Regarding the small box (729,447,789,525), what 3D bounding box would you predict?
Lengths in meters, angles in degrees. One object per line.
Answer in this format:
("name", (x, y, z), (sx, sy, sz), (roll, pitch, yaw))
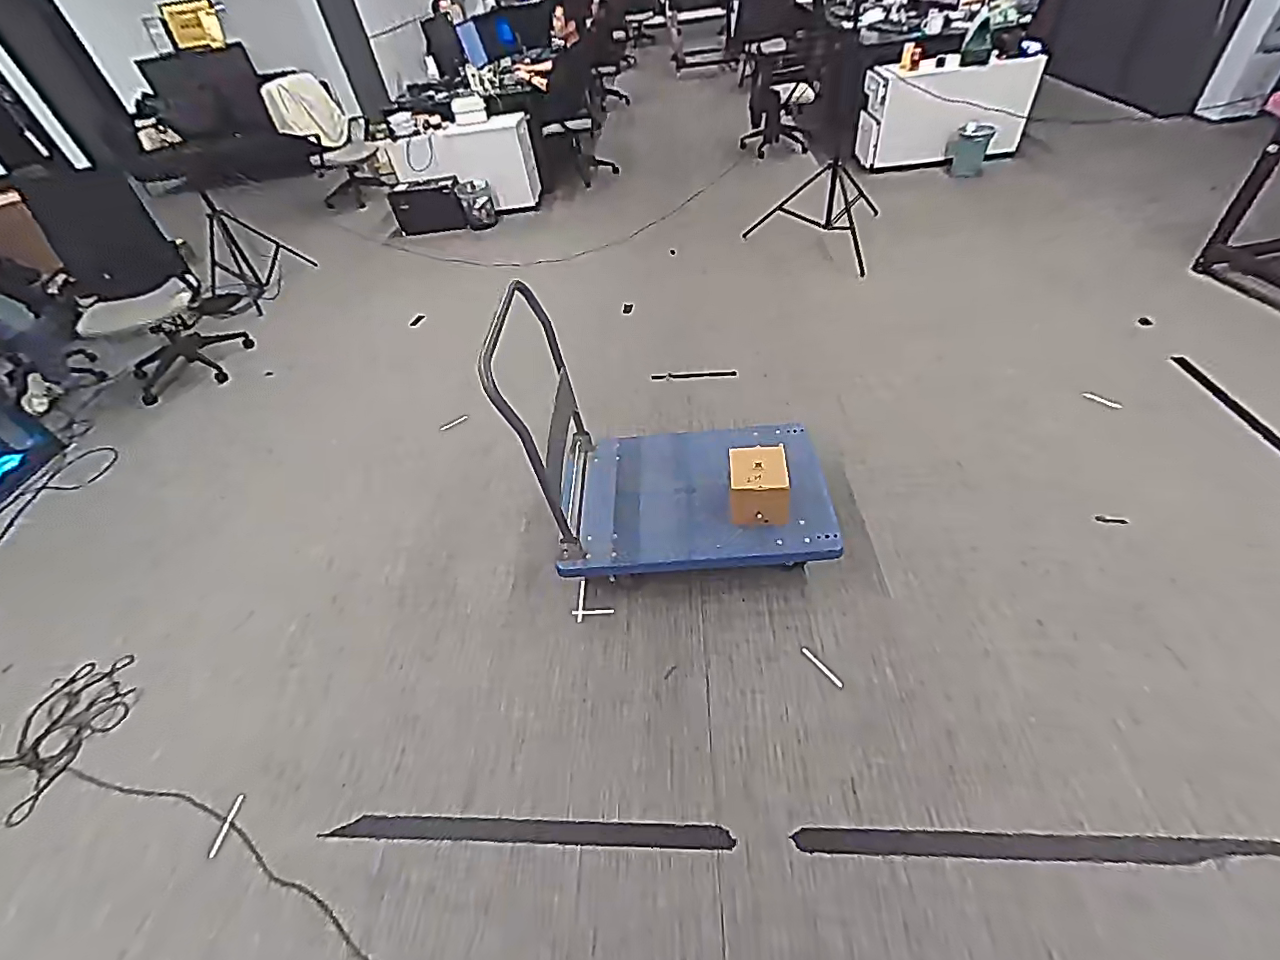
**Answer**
("small box", (0.360, 0.019, 1.661), (0.168, 0.176, 0.179), (-2, 45, 8))
